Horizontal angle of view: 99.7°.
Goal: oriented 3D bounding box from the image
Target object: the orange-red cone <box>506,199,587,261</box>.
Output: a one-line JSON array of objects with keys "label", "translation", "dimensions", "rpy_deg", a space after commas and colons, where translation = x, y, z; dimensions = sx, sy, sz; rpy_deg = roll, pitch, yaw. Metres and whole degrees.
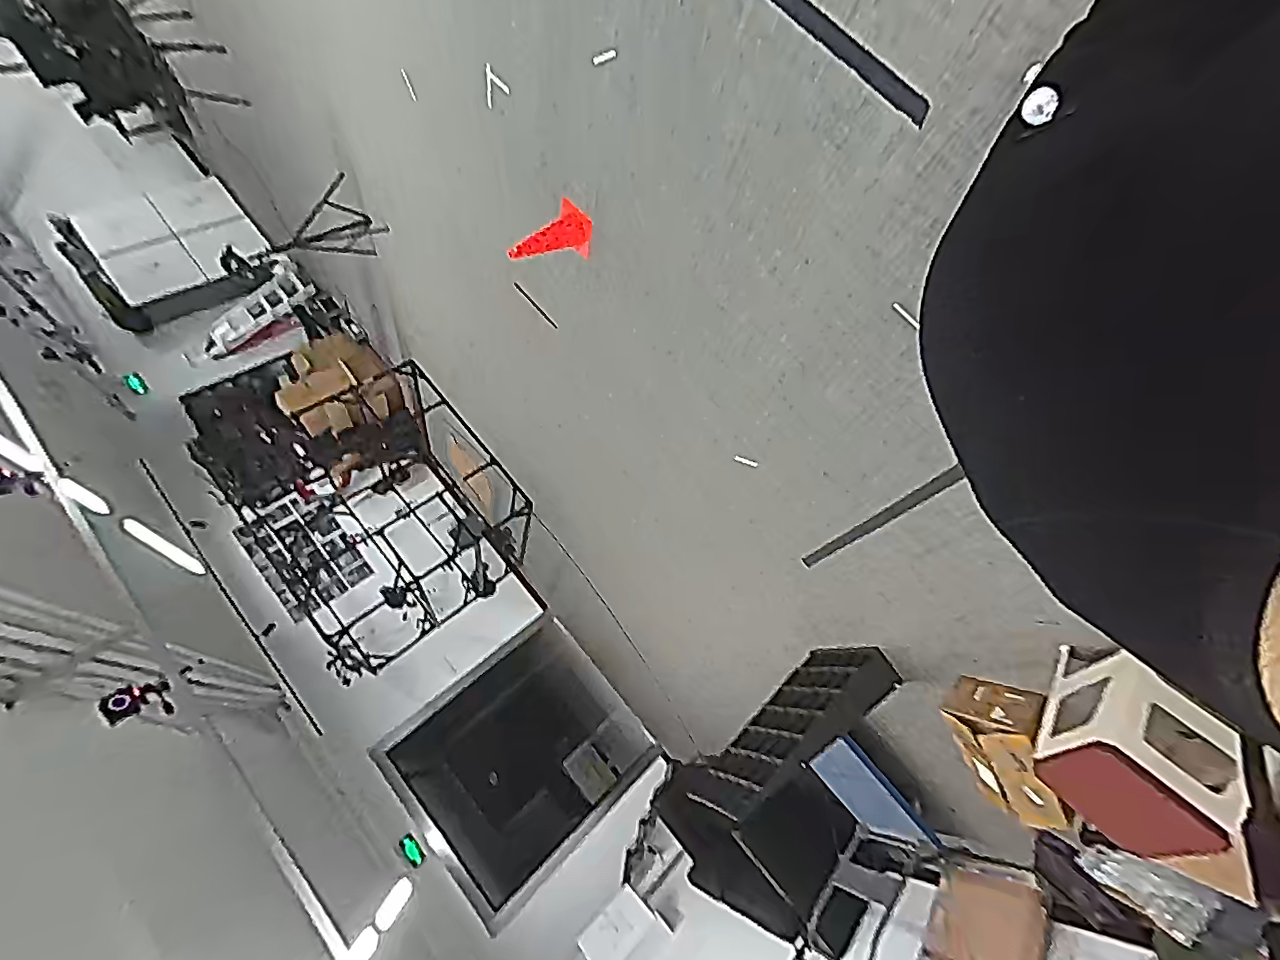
[{"label": "orange-red cone", "translation": [-0.426, -1.033, 2.339], "dimensions": [0.199, 0.360, 0.198], "rpy_deg": [45, 153, 14]}]
